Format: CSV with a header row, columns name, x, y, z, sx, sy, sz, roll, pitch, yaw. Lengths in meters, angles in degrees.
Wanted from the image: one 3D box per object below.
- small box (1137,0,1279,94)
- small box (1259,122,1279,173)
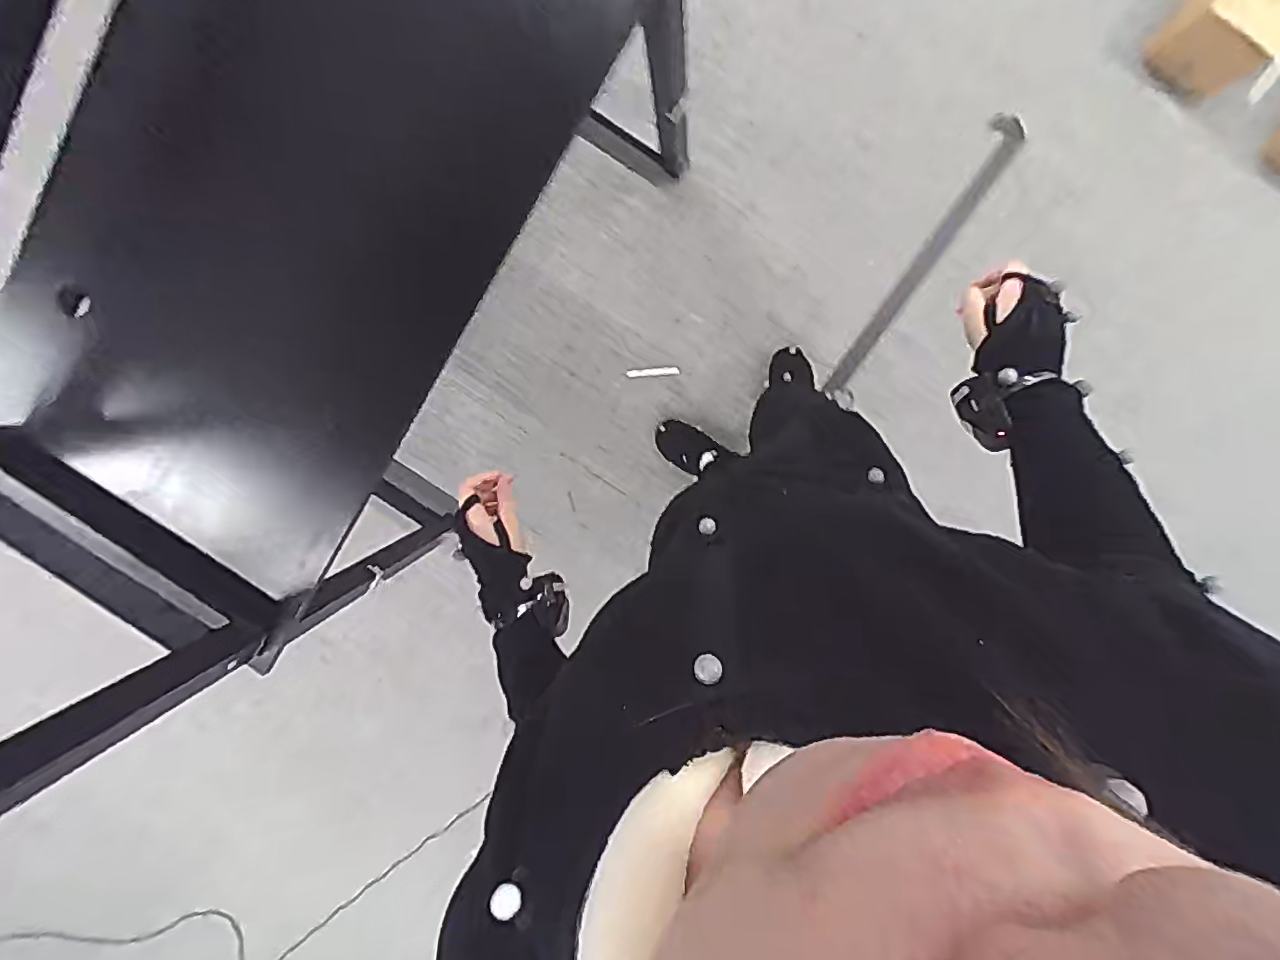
name,x,y,z,sx,sy,sz,roll,pitch,yaw
small box,1.233,-0.962,1.138,0.179,0.176,0.168,35,100,-3
small box,1.518,-0.763,1.151,0.168,0.176,0.179,35,101,-2
